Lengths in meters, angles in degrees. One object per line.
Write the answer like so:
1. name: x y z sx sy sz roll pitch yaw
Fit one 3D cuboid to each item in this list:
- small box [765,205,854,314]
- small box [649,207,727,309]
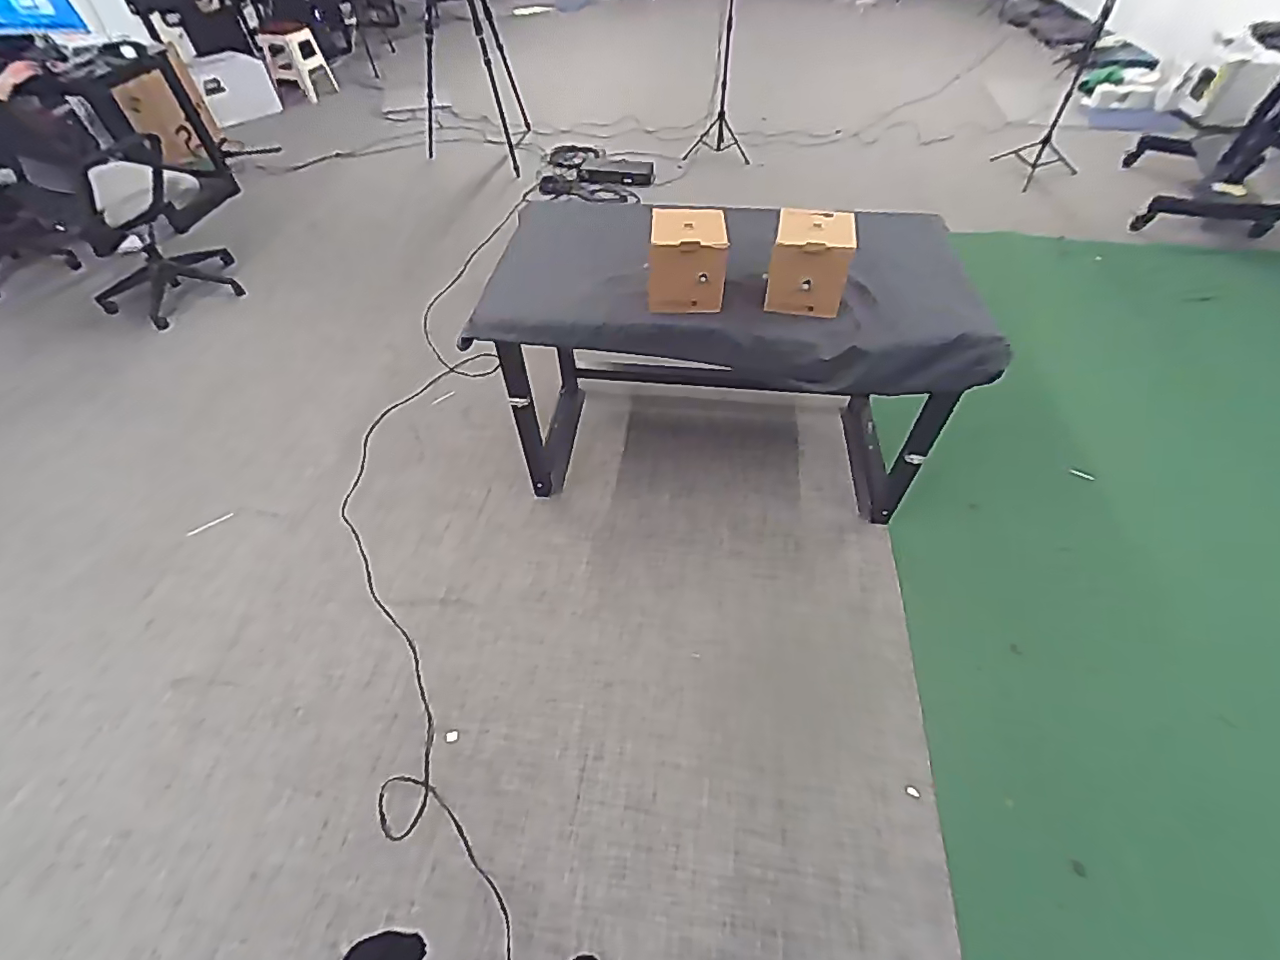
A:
1. small box: 0.386 -0.504 1.243 0.168 0.176 0.179 10 52 9
2. small box: 0.106 -0.513 1.256 0.168 0.176 0.179 1 48 0
